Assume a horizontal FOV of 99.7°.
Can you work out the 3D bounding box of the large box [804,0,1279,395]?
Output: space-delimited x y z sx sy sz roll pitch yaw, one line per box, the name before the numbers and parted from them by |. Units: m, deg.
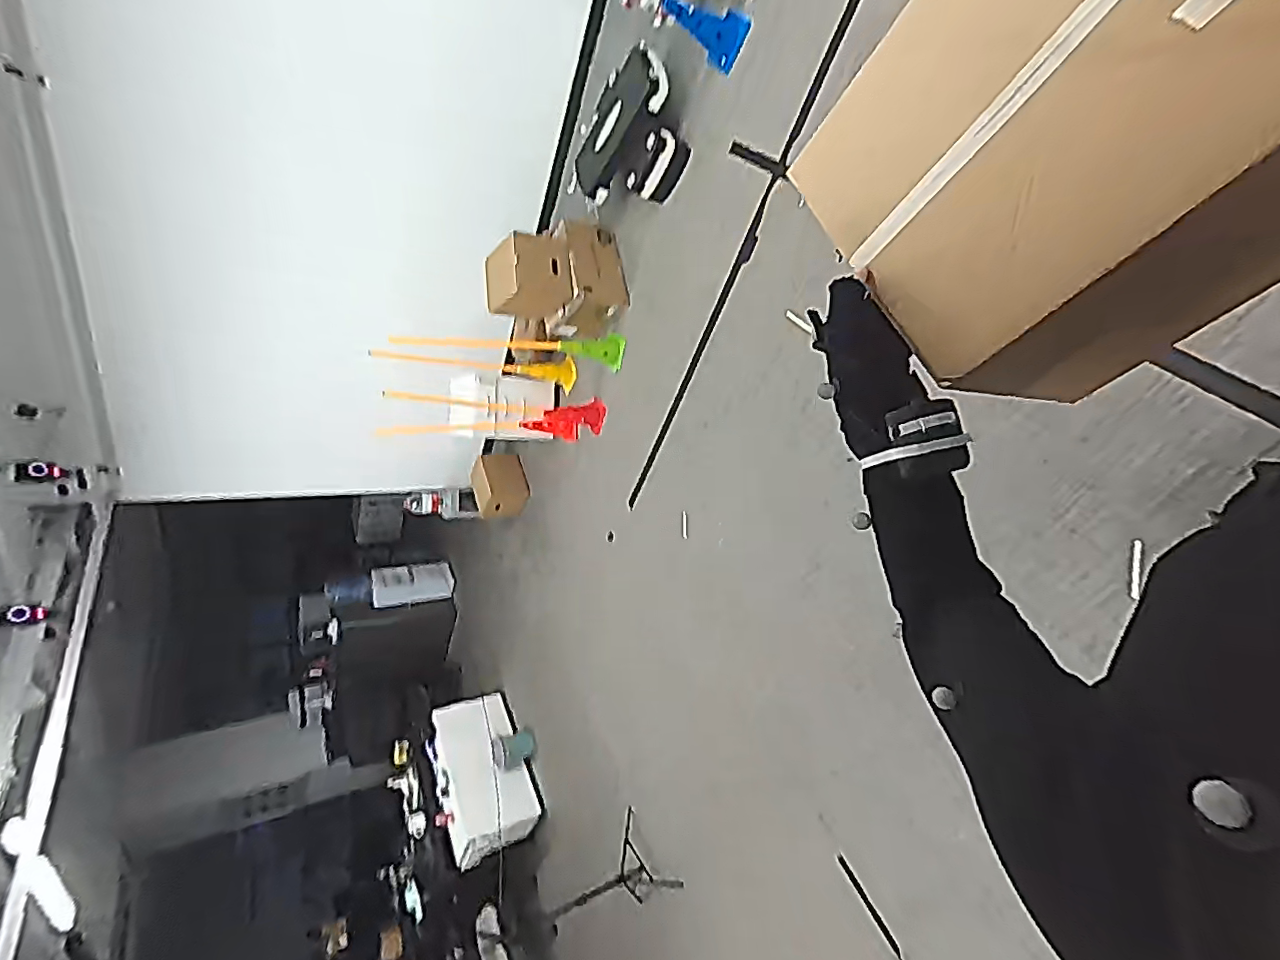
large box | 0.441 -0.327 0.483 0.408 0.320 0.320 -47 55 45
